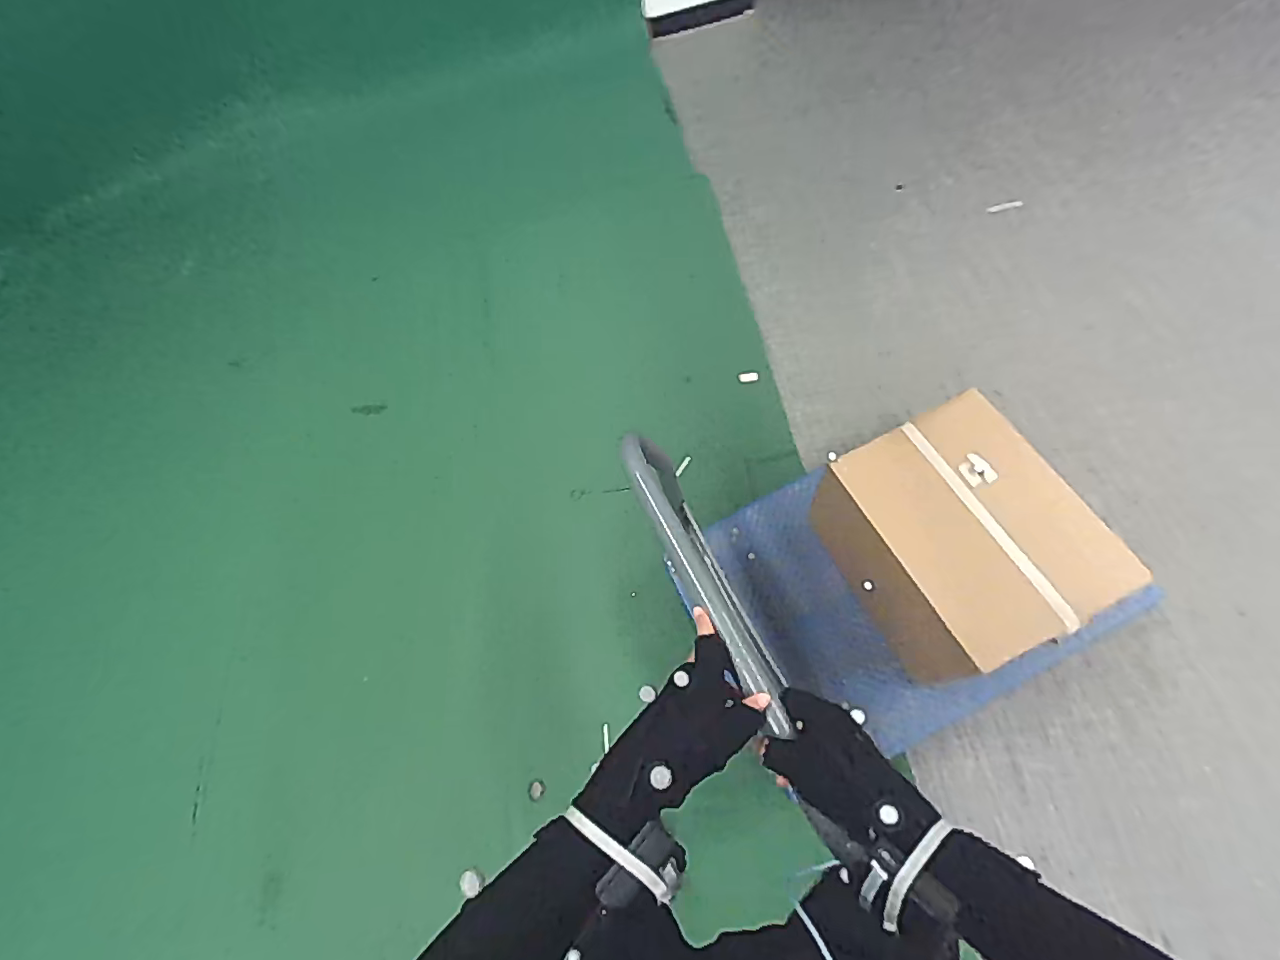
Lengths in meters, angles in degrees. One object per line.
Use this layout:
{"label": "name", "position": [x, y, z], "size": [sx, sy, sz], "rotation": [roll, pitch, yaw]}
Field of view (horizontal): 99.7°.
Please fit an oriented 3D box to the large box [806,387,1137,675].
{"label": "large box", "position": [0.577, 0.109, 1.046], "size": [0.320, 0.320, 0.408], "rotation": [-27, 64, -4]}
